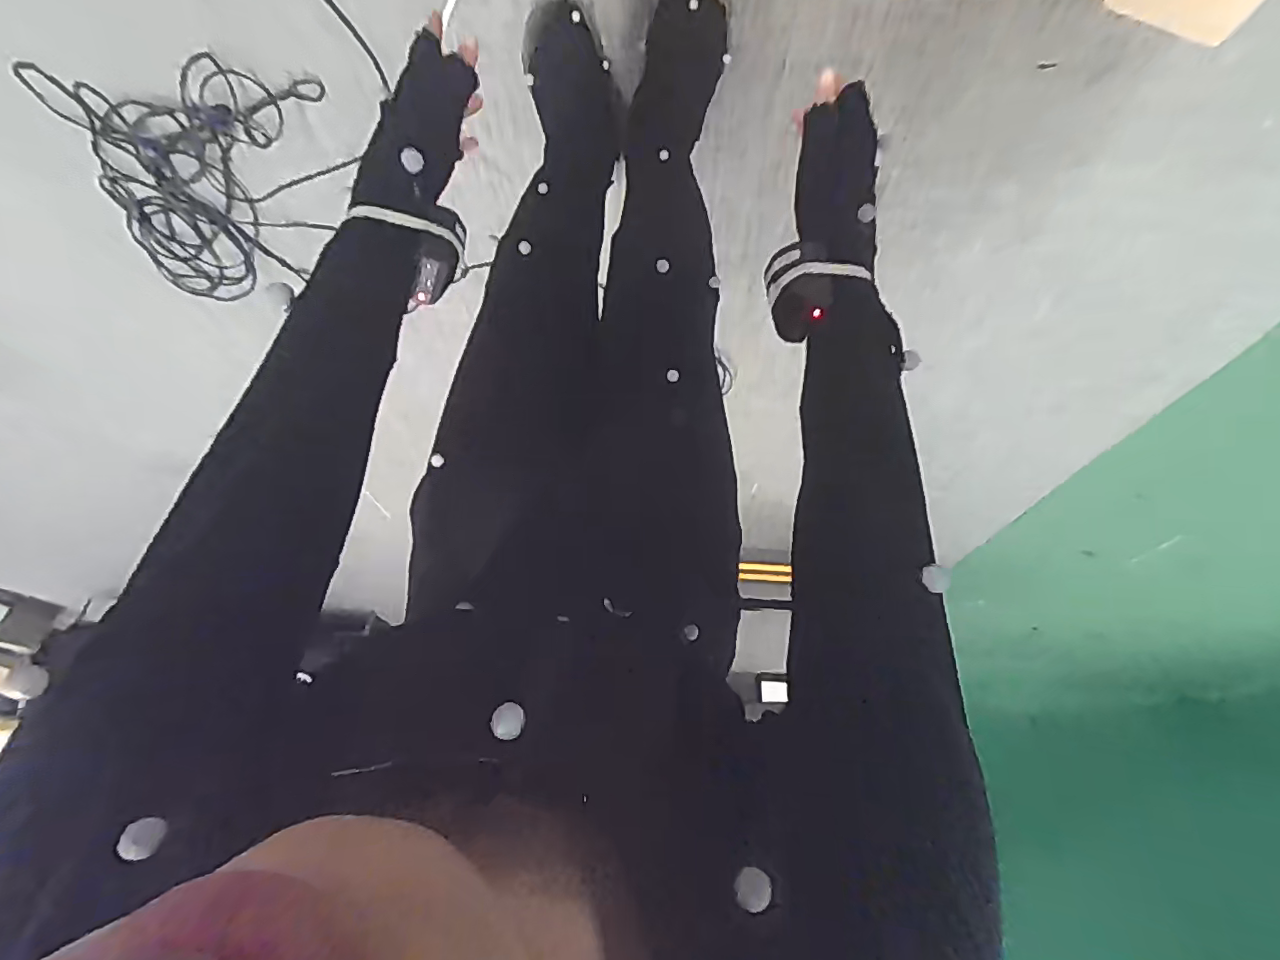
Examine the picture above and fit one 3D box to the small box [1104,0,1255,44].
[{"bbox_3d":[0.624,-0.643,0.604,0.179,0.176,0.168,9,150,-11],"label":"small box"}]
